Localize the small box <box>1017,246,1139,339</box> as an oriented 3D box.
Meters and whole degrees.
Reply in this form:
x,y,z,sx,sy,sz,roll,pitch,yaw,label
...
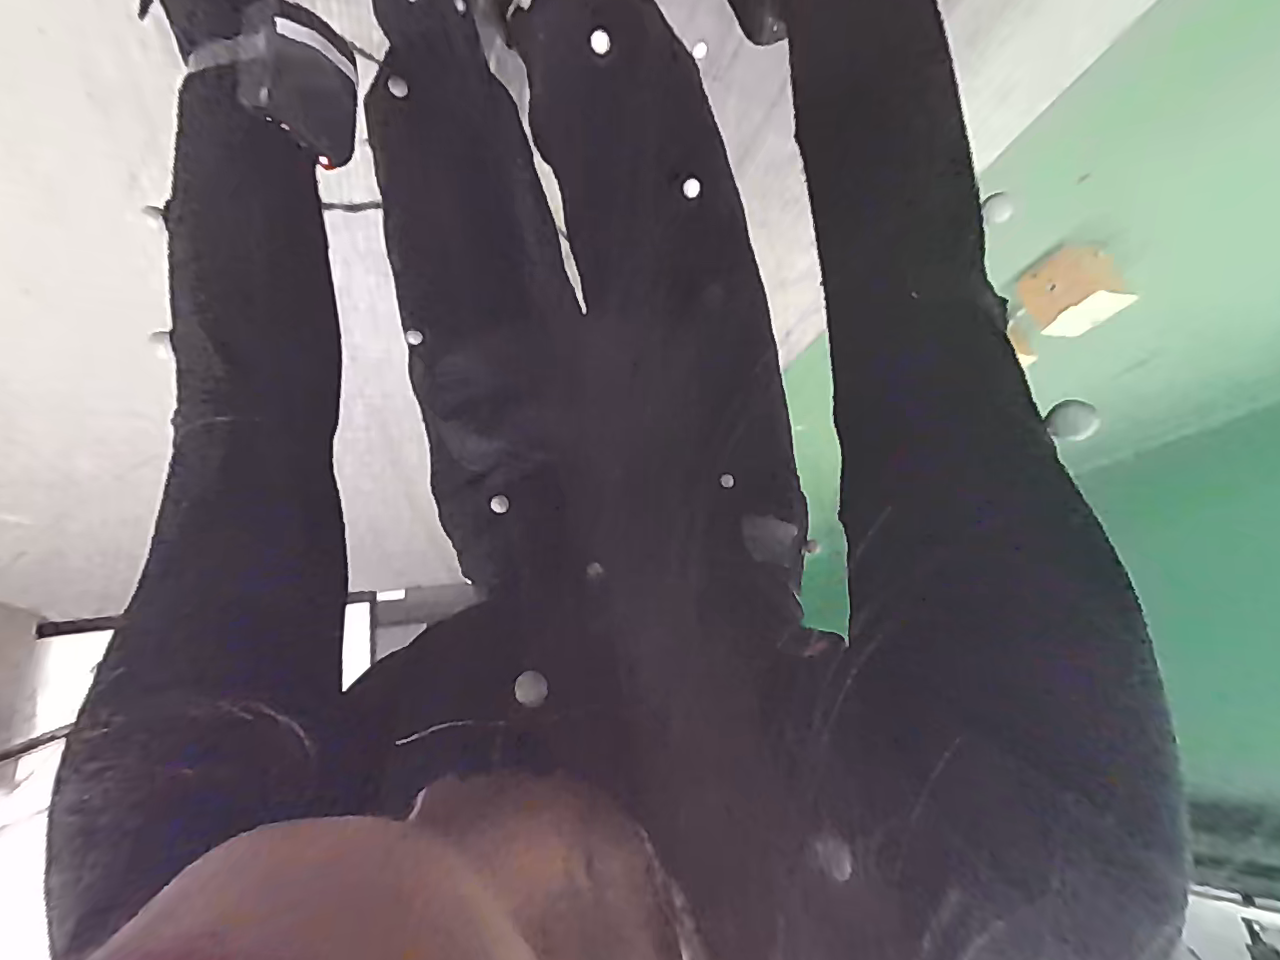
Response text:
x,y,z,sx,sy,sz,roll,pitch,yaw,label
1.180,-0.509,1.471,0.179,0.176,0.168,-1,157,-22,small box
